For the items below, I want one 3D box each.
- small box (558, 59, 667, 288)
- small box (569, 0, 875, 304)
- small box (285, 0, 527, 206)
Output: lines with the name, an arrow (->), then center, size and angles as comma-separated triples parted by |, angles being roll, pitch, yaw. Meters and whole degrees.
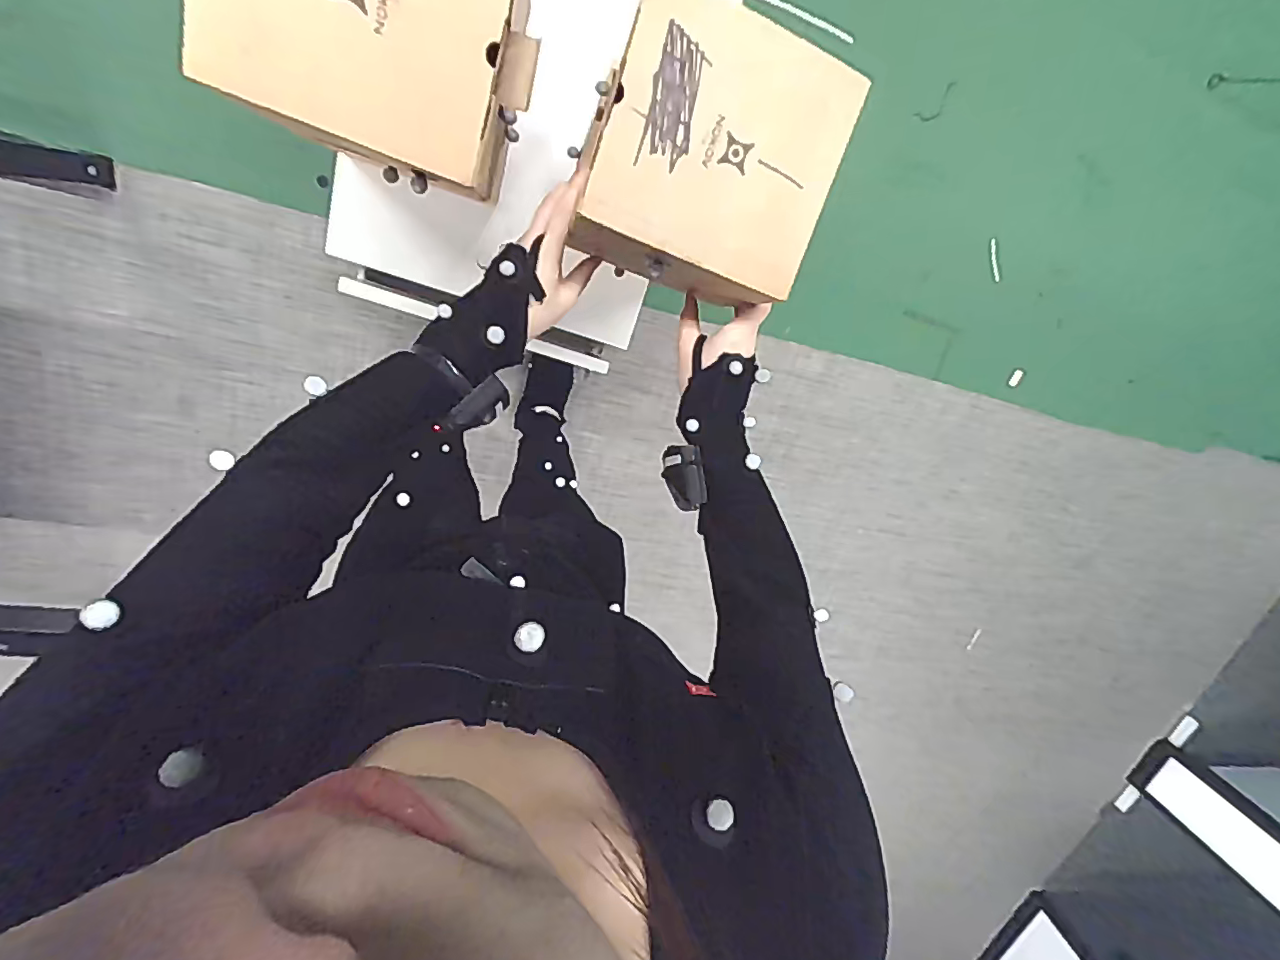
small box -> 0.012, -0.322, 0.614 | 0.179, 0.176, 0.168 | 16, 110, -17
small box -> 0.047, -0.255, 0.456 | 0.179, 0.176, 0.168 | 17, 103, -16
small box -> -0.218, -0.388, 0.539 | 0.179, 0.176, 0.168 | 13, 110, -17
